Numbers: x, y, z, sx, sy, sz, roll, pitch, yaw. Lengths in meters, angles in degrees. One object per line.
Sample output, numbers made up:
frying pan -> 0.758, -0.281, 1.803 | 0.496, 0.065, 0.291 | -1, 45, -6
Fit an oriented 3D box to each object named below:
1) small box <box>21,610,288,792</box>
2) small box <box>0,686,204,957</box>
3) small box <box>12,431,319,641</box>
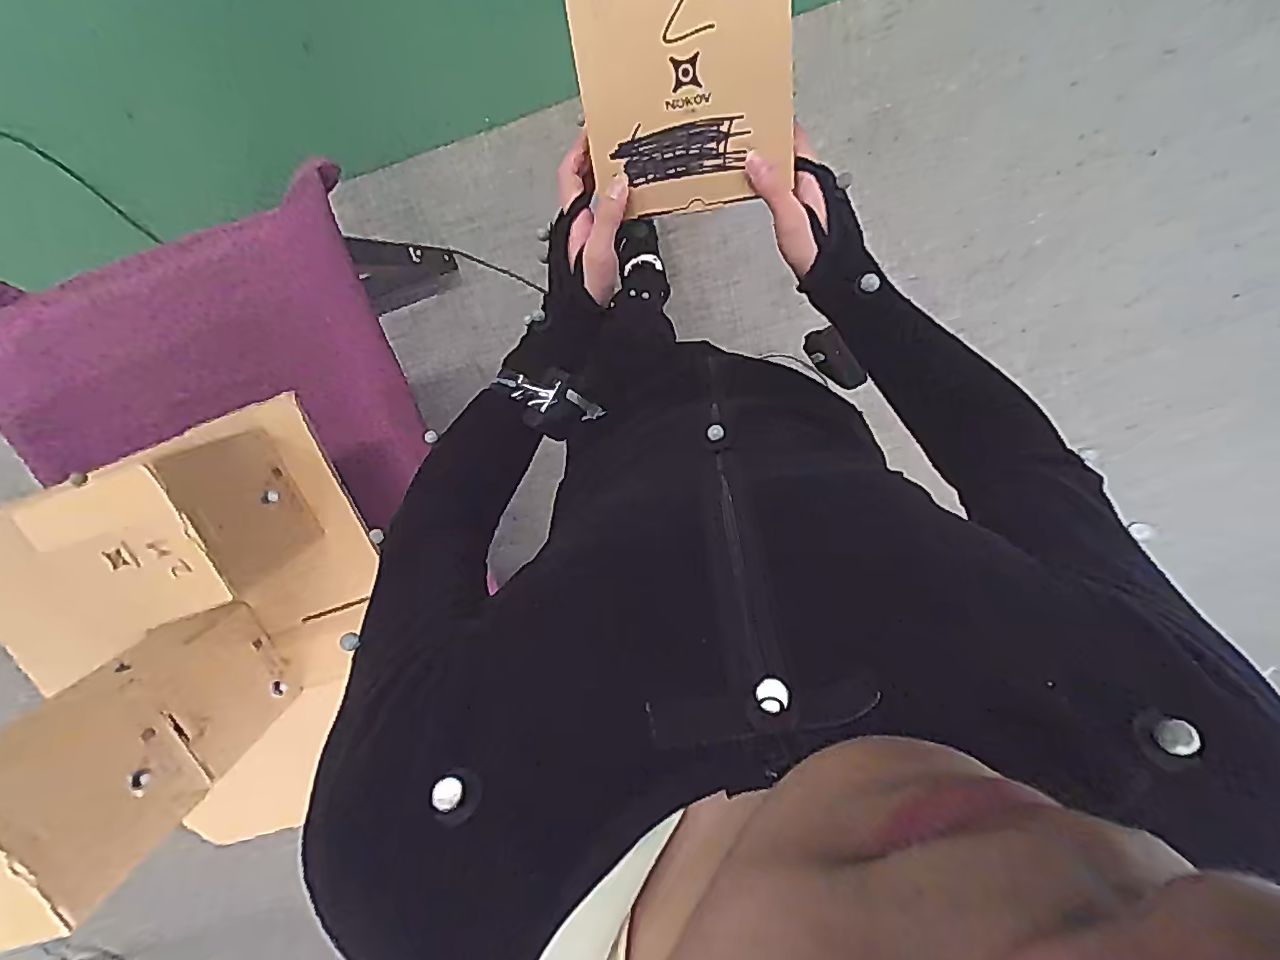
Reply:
small box -> -0.612, 0.298, 0.716 | 0.179, 0.176, 0.168 | -19, 105, 8
small box -> -0.625, 0.350, 0.563 | 0.179, 0.176, 0.168 | -20, 105, 7
small box -> -0.534, 0.056, 0.639 | 0.179, 0.176, 0.168 | -18, 107, 7
